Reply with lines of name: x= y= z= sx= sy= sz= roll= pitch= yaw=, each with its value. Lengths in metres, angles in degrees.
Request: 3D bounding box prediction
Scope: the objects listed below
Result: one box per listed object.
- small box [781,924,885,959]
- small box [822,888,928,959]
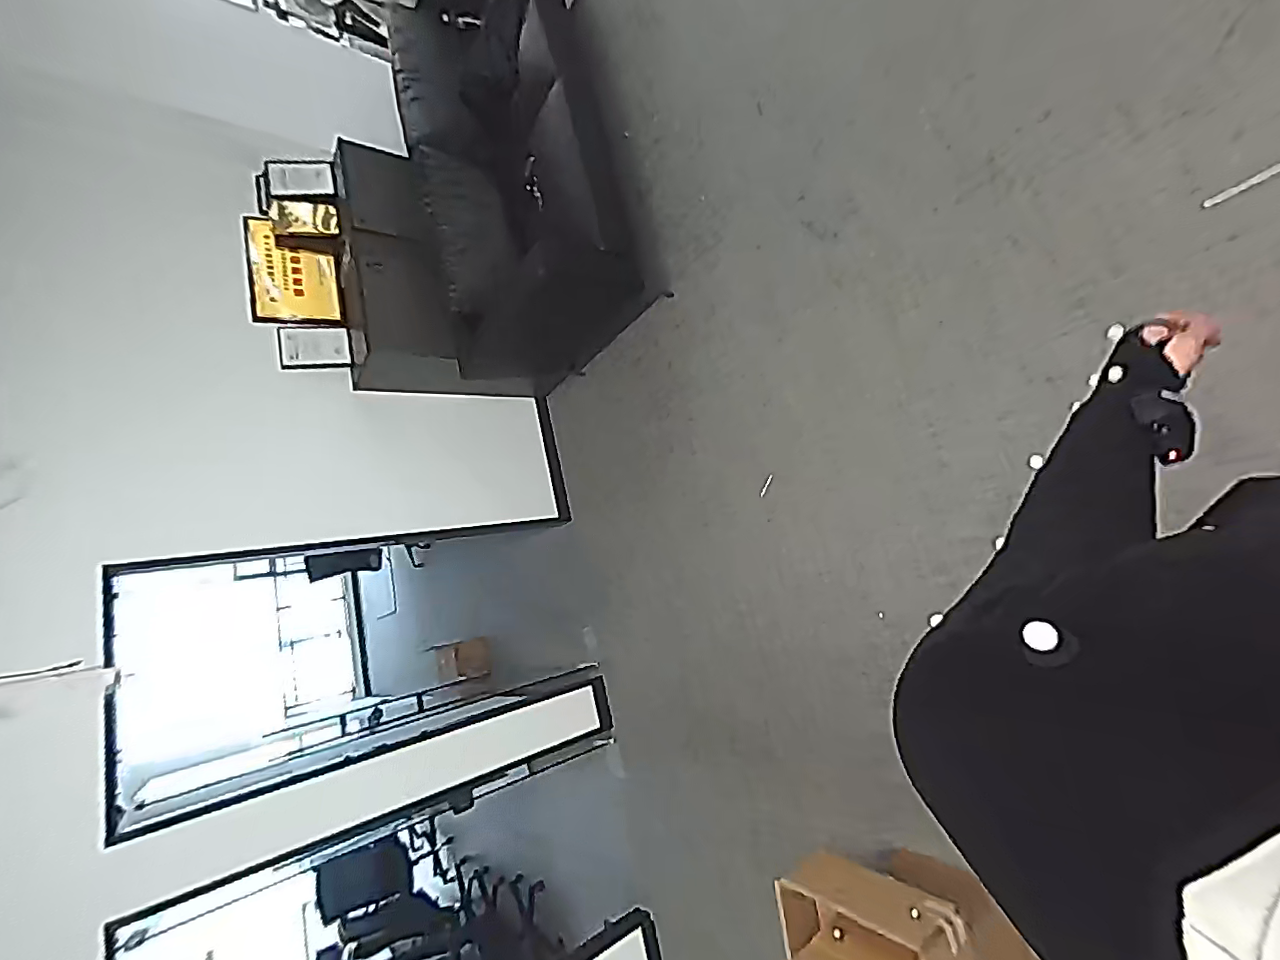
small box: x=0.449 y=1.164 z=1.225 sx=0.179 sy=0.176 sz=0.168 roll=-10 pitch=85 yaw=53
small box: x=0.577 y=1.149 z=1.323 sx=0.179 sy=0.176 sz=0.168 roll=-9 pitch=87 yaw=53
